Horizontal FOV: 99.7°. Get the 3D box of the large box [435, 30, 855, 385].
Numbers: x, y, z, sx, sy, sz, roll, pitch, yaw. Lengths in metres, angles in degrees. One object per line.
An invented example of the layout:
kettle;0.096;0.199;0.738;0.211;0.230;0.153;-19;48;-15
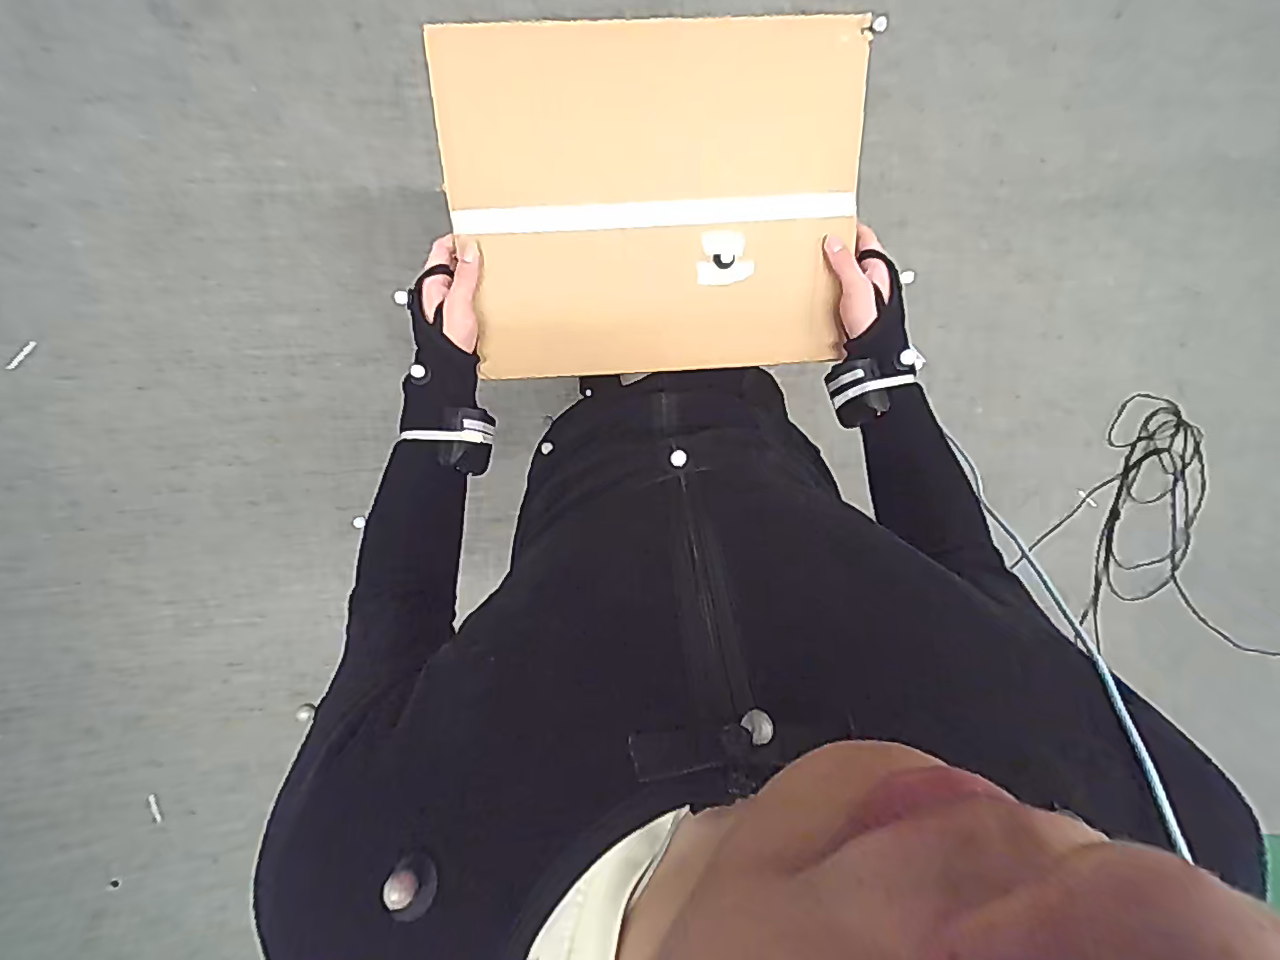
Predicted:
large box;0.005;-0.316;0.693;0.408;0.320;0.320;-4;111;-3
